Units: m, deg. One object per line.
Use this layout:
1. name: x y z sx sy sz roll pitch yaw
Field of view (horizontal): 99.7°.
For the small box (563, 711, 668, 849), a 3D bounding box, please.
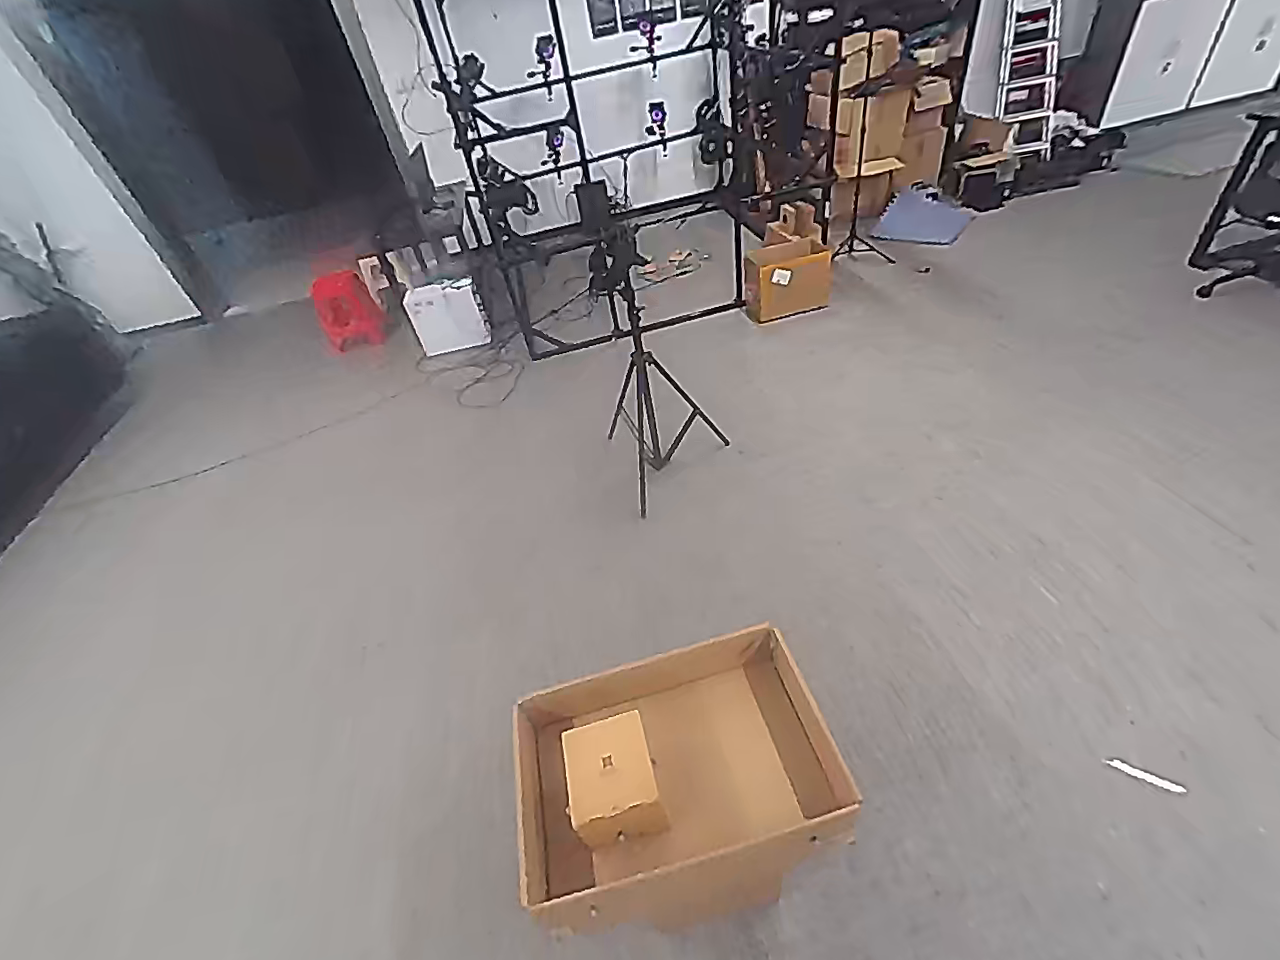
1. small box: -0.050 0.606 1.092 0.168 0.176 0.179 -16 42 -4
